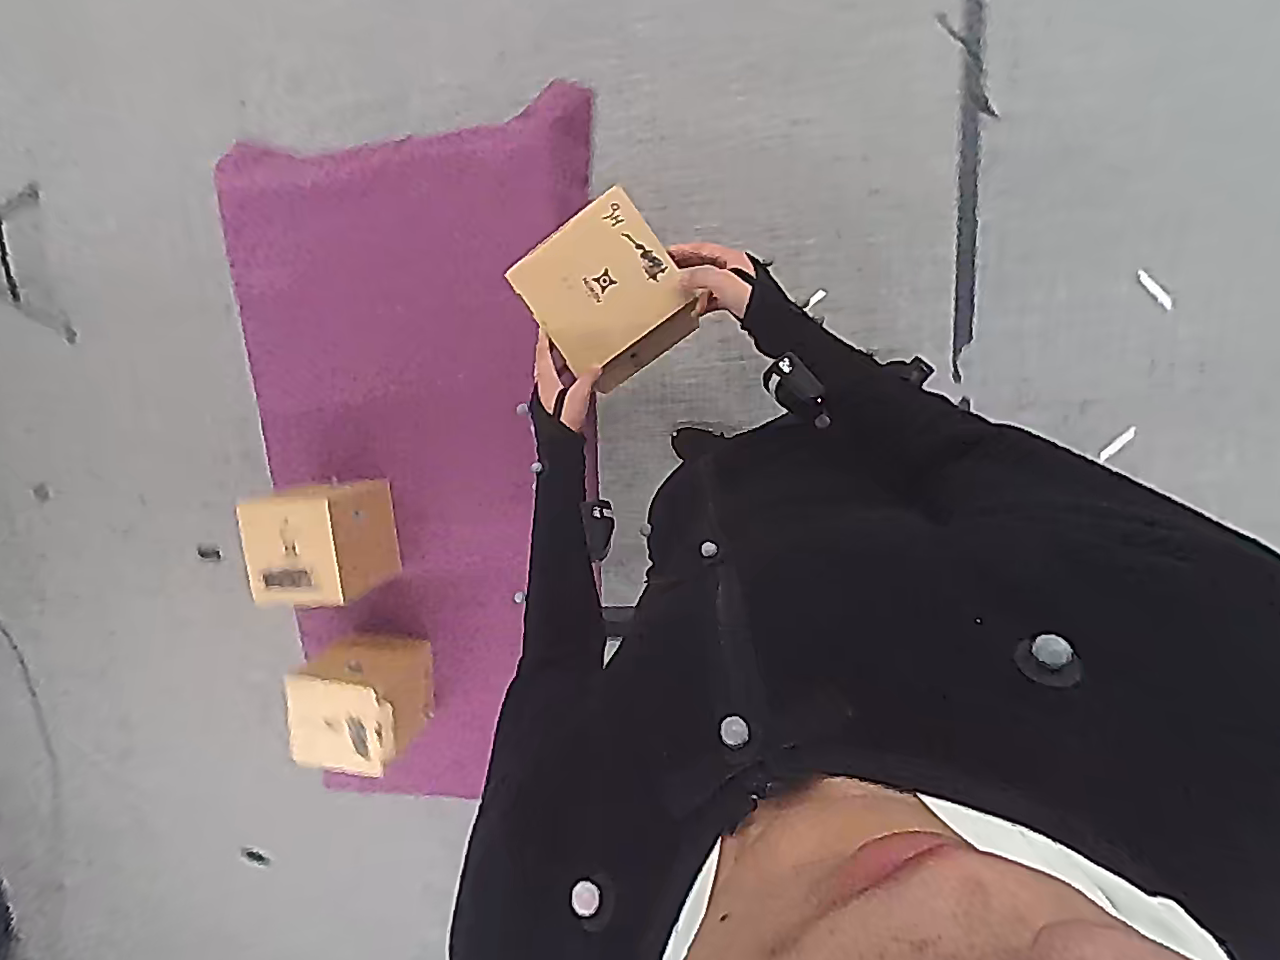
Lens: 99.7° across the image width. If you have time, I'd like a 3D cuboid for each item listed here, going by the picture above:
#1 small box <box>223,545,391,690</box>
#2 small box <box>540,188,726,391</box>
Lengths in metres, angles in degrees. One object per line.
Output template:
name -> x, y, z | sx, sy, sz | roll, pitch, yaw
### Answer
small box -> -0.572, 0.228, 0.948 | 0.179, 0.176, 0.168 | 19, 100, 5
small box -> 0.000, -0.235, 0.720 | 0.179, 0.176, 0.168 | -29, 89, 6
